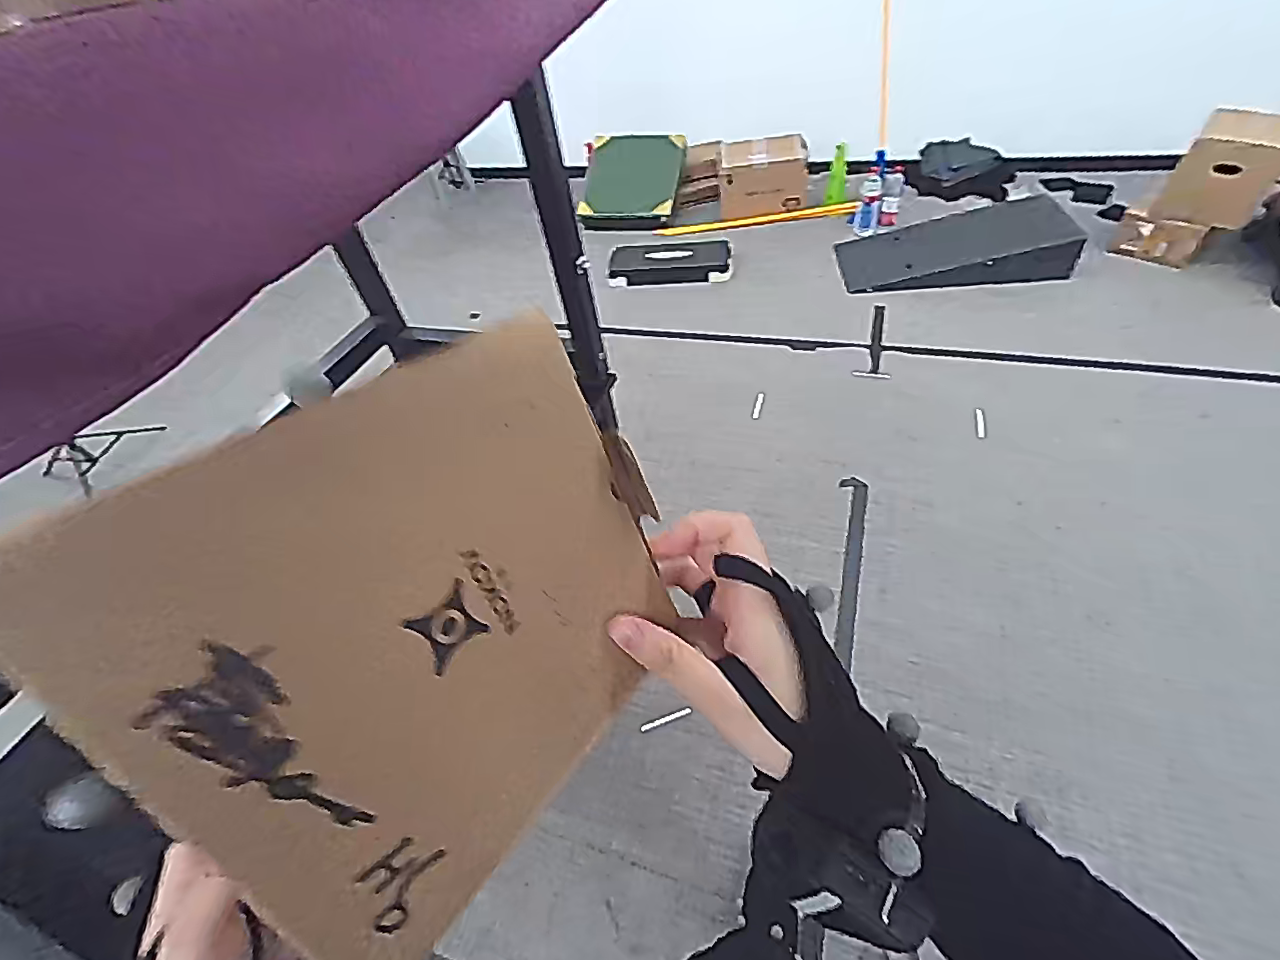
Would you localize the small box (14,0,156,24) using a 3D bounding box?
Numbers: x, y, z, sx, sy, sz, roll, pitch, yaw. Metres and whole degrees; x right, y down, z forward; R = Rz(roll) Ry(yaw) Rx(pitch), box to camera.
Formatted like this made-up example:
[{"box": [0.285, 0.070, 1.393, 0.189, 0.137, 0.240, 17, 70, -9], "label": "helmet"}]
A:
[{"box": [-0.419, -0.480, 0.413, 0.179, 0.176, 0.168, 10, 51, 19], "label": "small box"}]

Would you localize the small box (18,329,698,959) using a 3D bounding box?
[{"box": [-0.107, 0.051, 0.242, 0.176, 0.168, 0.179, -5, 25, 44], "label": "small box"}]
